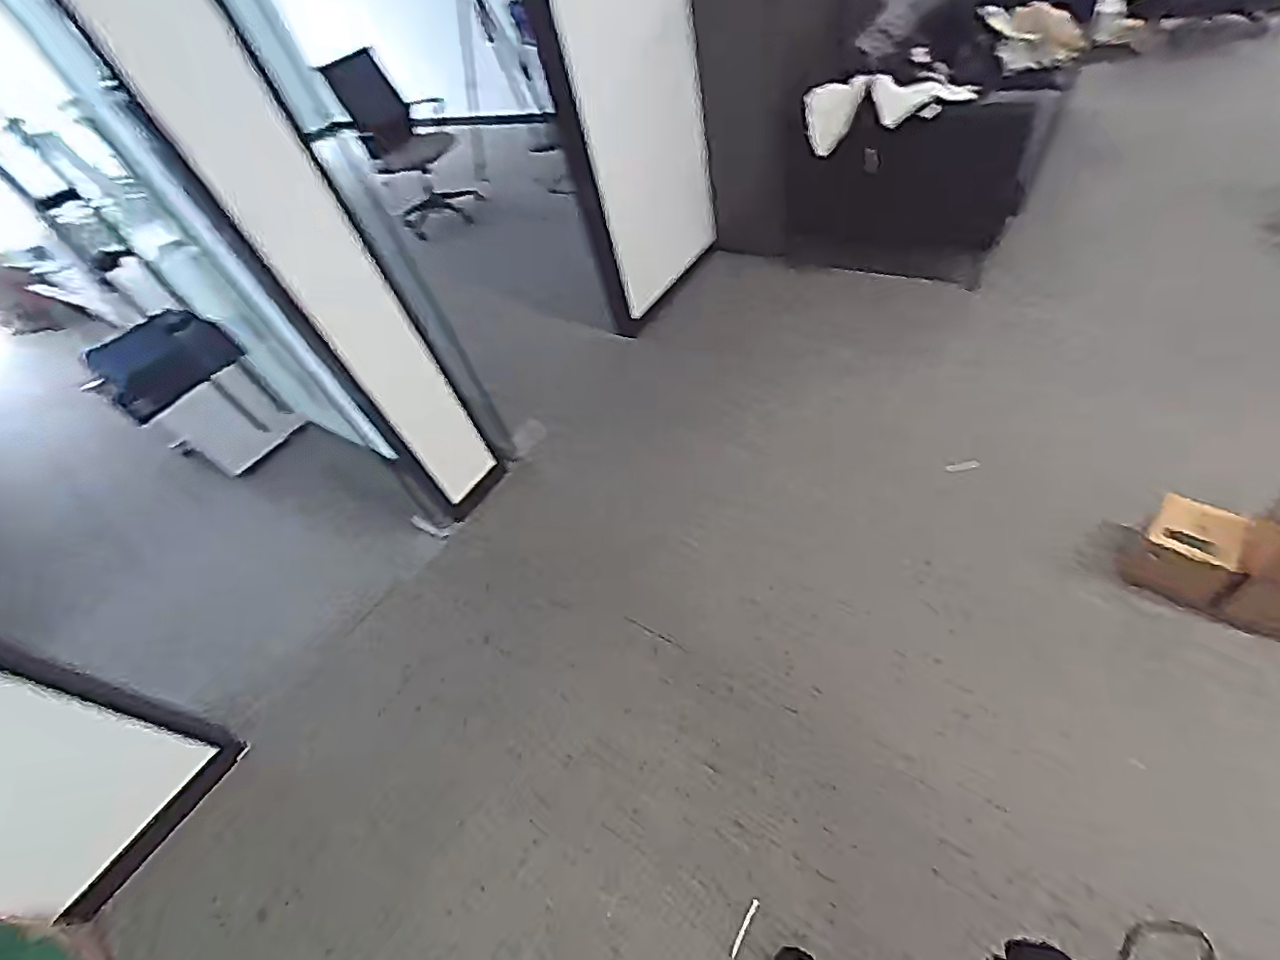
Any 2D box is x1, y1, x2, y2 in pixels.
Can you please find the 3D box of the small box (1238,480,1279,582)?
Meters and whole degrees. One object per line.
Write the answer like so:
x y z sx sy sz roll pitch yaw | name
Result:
1.436 0.125 1.149 0.179 0.176 0.168 21 59 29 | small box
